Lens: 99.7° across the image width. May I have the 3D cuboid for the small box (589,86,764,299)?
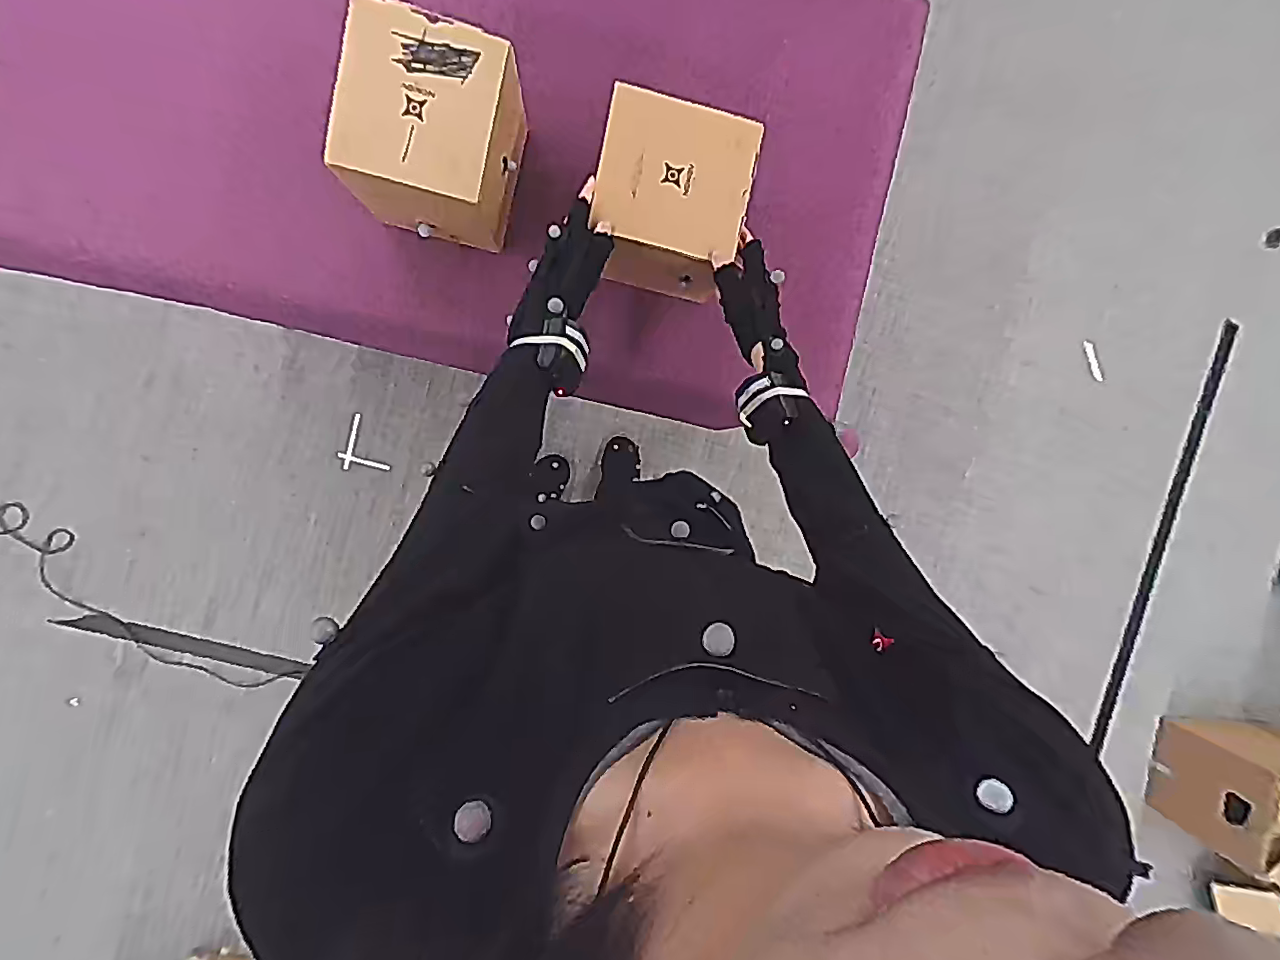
[{"bbox_3d":[0.035,-0.346,0.689,0.179,0.176,0.168,11,91,-5],"label":"small box"}]

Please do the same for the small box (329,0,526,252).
[{"bbox_3d":[-0.240,-0.407,0.655,0.168,0.176,0.179,13,94,-7],"label":"small box"}]
